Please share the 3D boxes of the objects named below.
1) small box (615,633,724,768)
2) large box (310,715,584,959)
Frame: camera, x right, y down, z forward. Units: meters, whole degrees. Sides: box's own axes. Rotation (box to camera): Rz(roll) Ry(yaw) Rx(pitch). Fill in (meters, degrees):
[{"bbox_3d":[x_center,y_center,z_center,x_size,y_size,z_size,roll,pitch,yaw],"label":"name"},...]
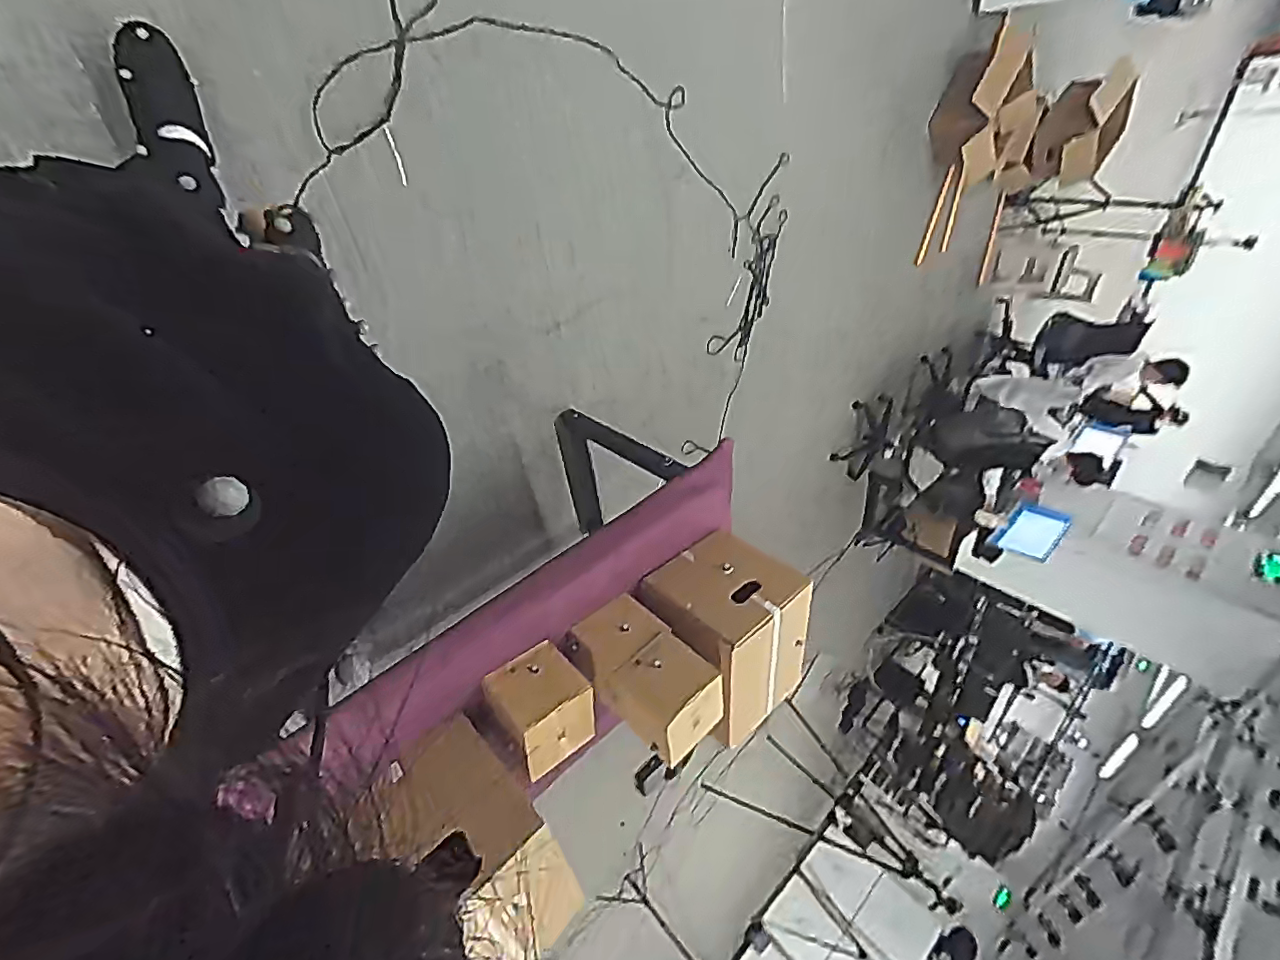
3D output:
[{"bbox_3d":[0.064,0.472,1.177,0.168,0.176,0.179,-33,132,-30],"label":"small box"},{"bbox_3d":[-0.357,0.758,1.057,0.320,0.320,0.408,-35,133,-31],"label":"large box"}]
